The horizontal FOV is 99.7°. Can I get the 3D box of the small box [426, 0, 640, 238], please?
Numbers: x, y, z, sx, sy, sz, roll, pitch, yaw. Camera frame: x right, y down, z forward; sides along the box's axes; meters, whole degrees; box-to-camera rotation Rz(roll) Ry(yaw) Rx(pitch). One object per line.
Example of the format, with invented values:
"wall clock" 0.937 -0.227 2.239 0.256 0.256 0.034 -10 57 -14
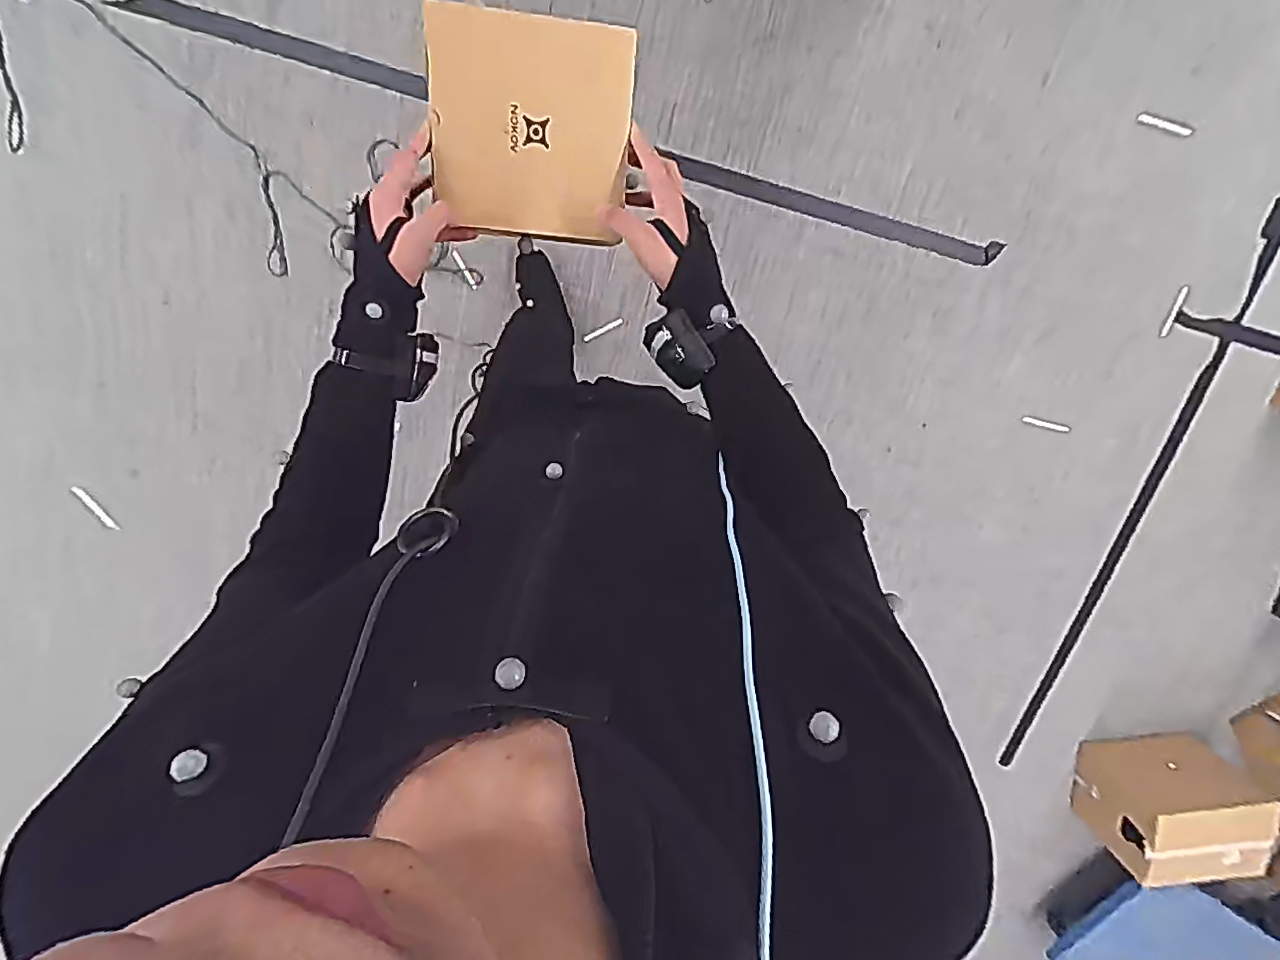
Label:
"small box" -0.099 -0.343 0.545 0.179 0.176 0.168 4 113 -5
